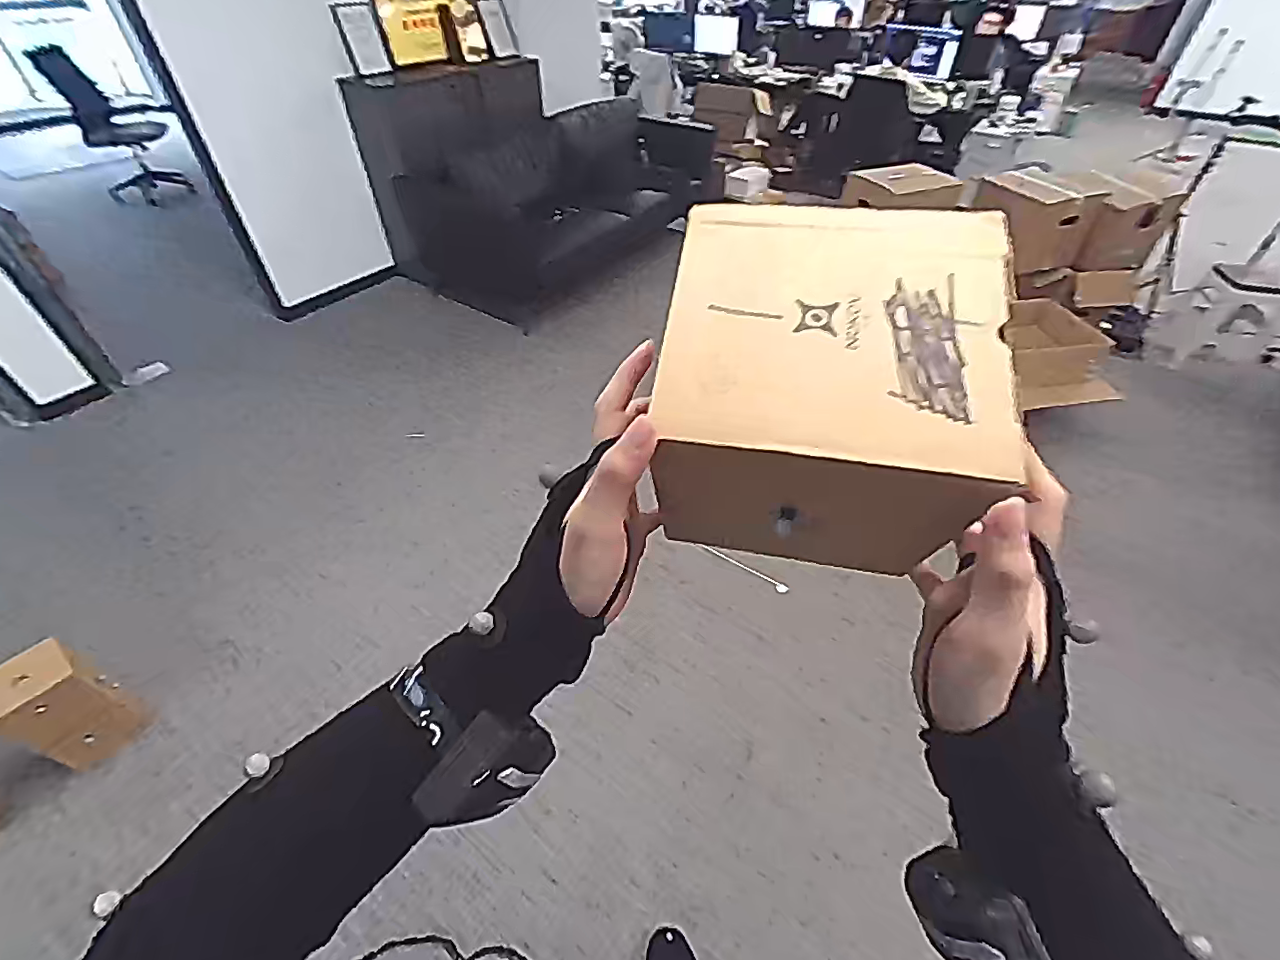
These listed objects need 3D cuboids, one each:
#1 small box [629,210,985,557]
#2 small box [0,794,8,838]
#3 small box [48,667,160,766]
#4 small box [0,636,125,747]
[{"bbox_3d":[0.103,-0.054,0.372,0.179,0.176,0.168,7,66,11],"label":"small box"},{"bbox_3d":[-1.744,0.857,1.339,0.179,0.176,0.168,29,51,28],"label":"small box"},{"bbox_3d":[-1.531,0.669,1.532,0.168,0.176,0.179,28,51,26],"label":"small box"},{"bbox_3d":[-1.522,0.556,1.414,0.168,0.176,0.179,30,51,27],"label":"small box"}]
